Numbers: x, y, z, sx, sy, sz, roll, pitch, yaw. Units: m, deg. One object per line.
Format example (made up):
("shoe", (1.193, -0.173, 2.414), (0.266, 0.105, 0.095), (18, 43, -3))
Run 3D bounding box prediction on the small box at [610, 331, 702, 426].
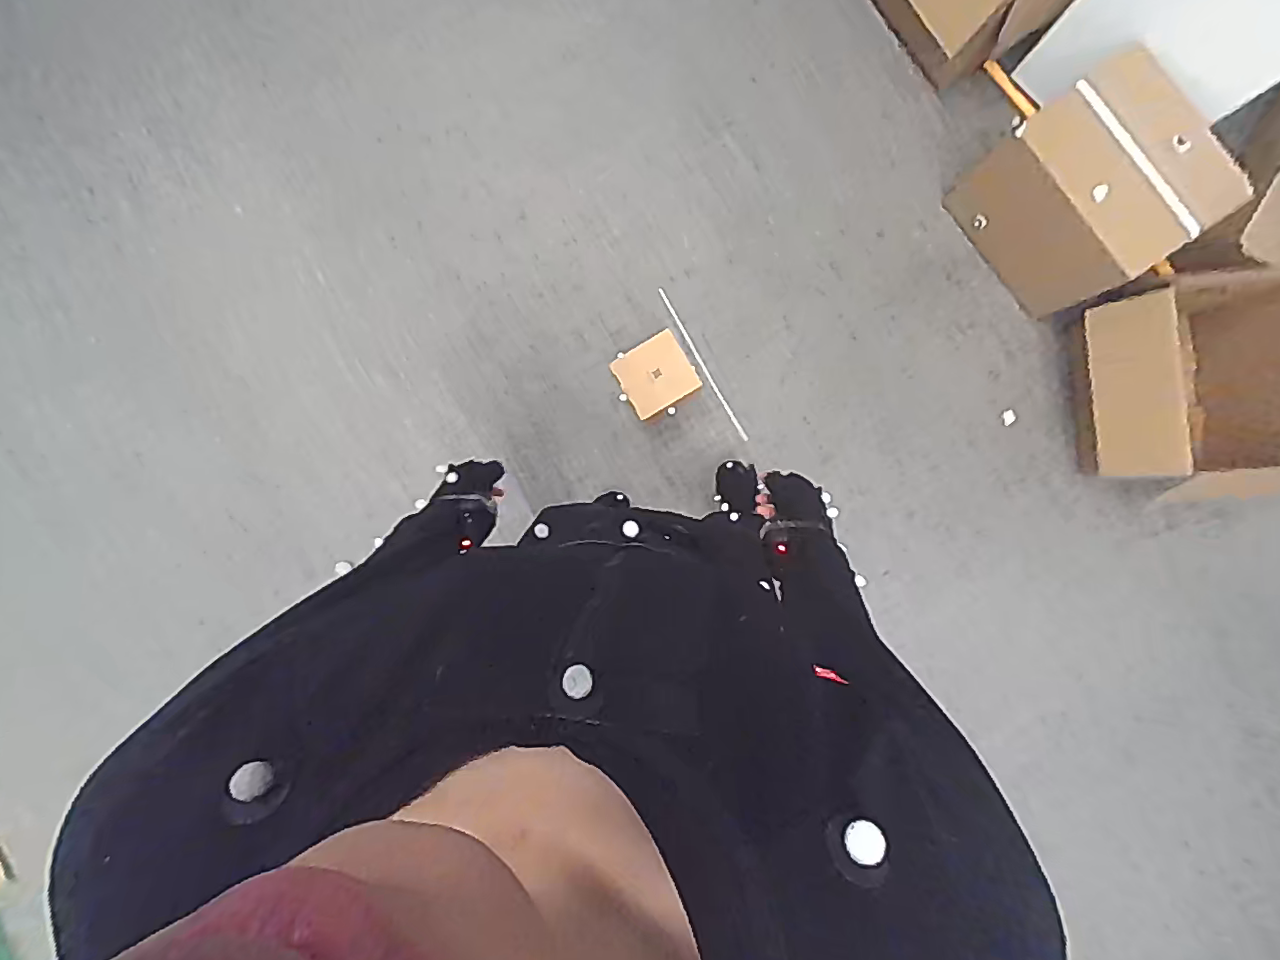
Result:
("small box", (0.041, -0.253, 1.390), (0.179, 0.176, 0.168), (-31, 88, 3))
